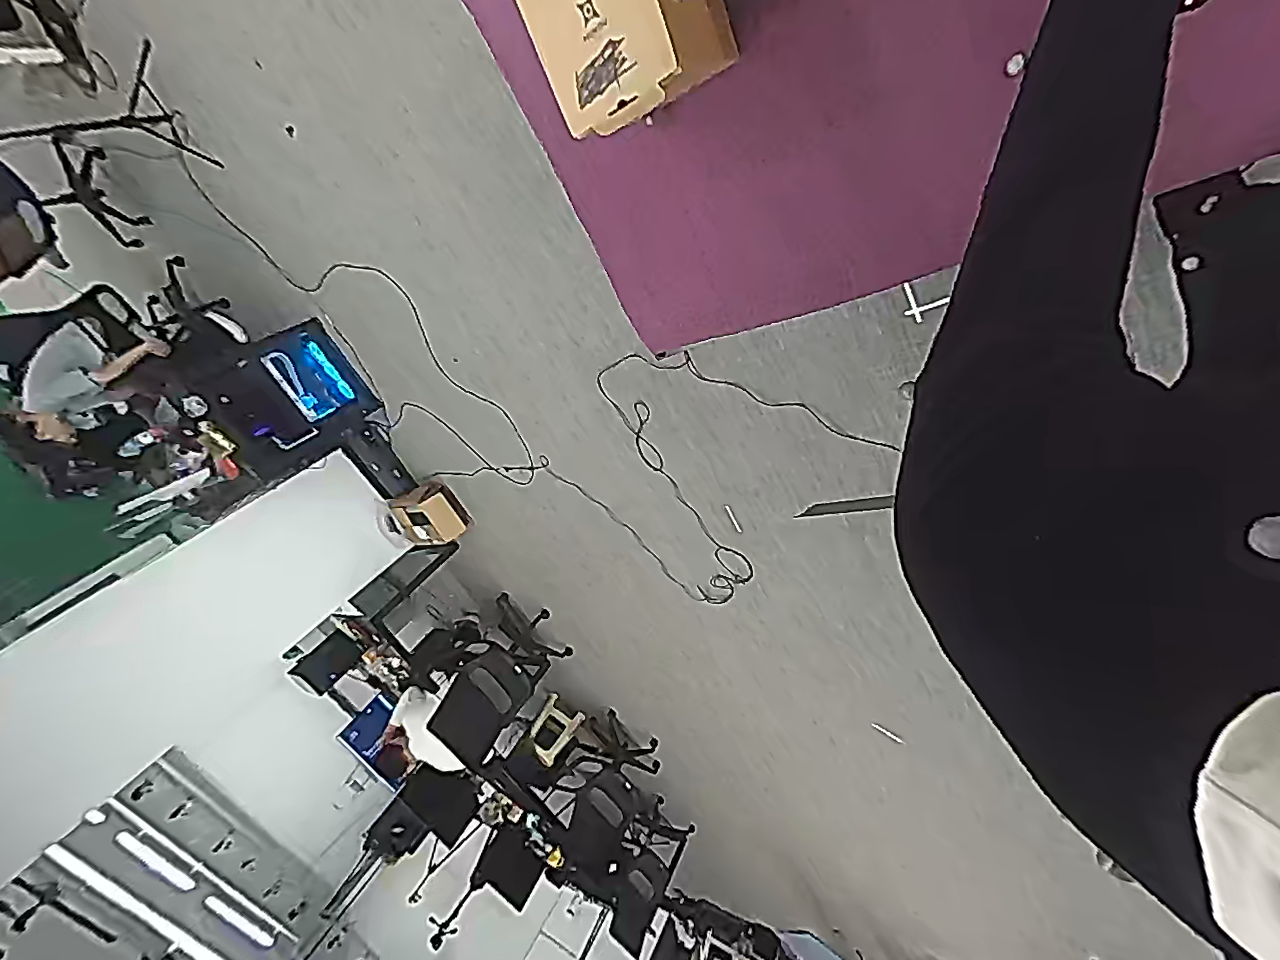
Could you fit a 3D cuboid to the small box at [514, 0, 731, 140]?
[{"bbox_3d":[-0.014,-0.543,0.637,0.168,0.176,0.179,-4,123,39],"label":"small box"}]
